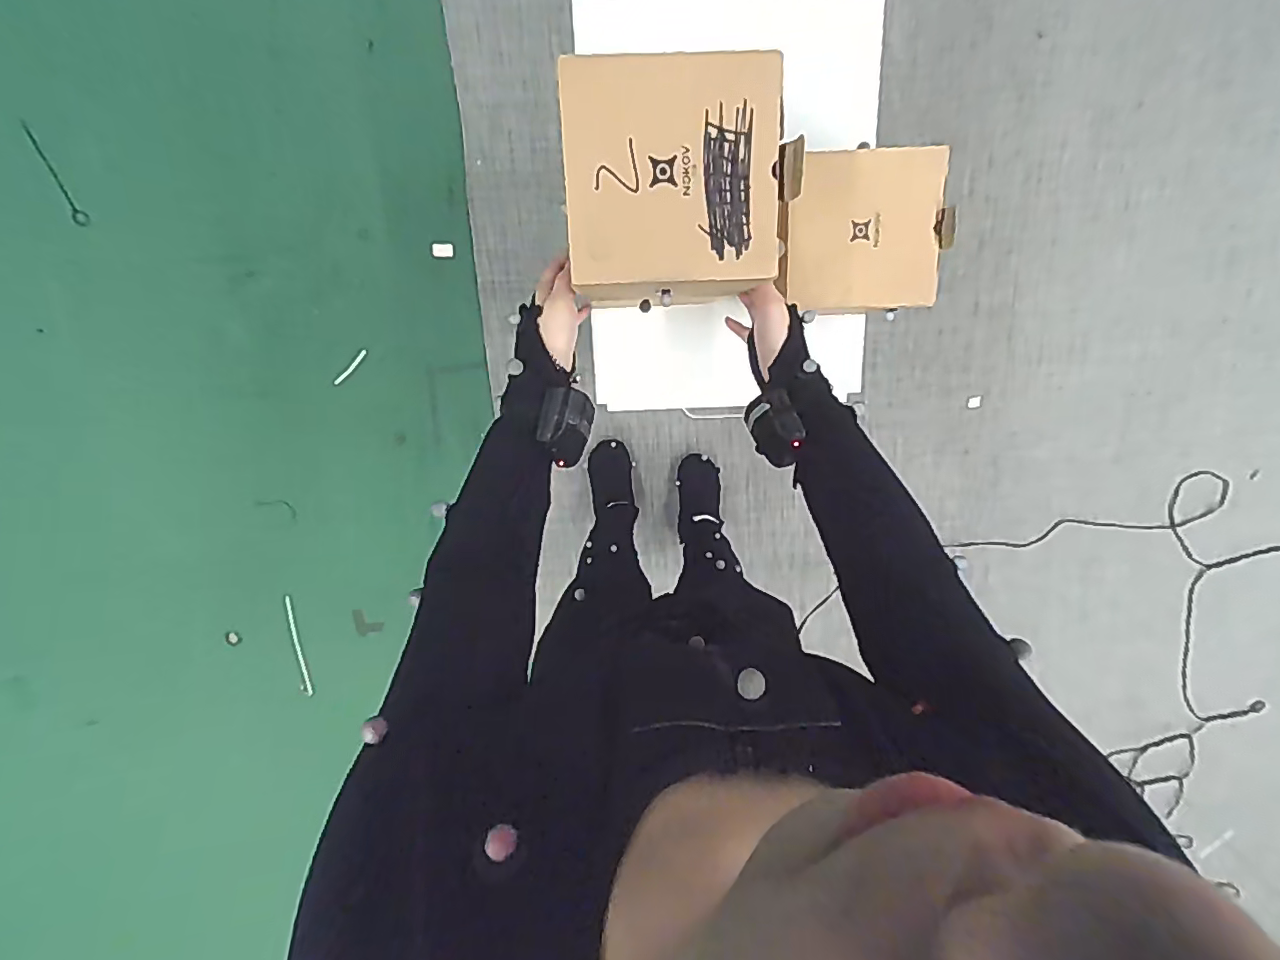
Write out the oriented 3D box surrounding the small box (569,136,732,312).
[{"bbox_3d":[0.013,-0.301,0.669,0.179,0.176,0.168,-3,104,-2],"label":"small box"}]
